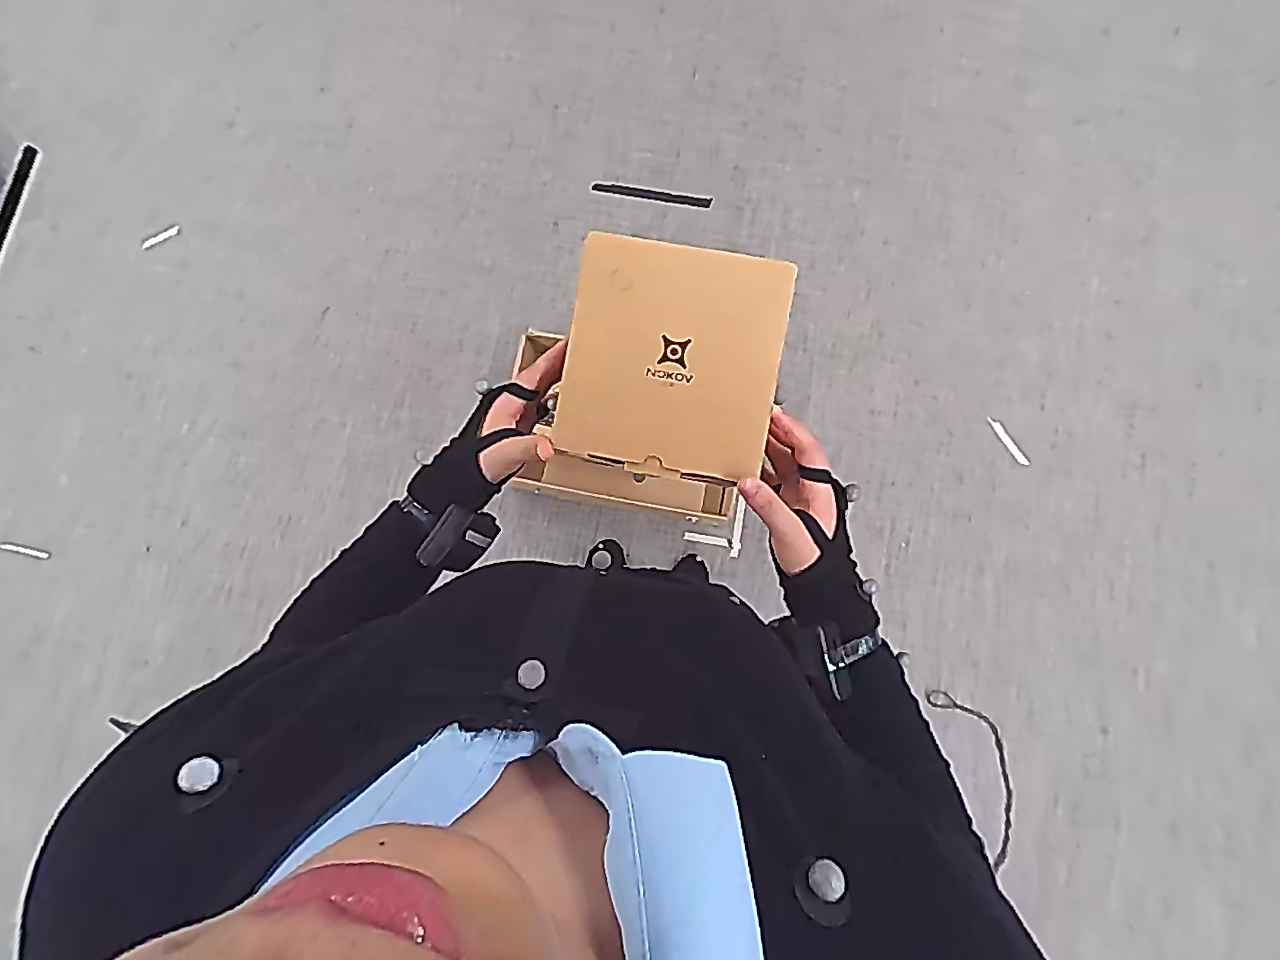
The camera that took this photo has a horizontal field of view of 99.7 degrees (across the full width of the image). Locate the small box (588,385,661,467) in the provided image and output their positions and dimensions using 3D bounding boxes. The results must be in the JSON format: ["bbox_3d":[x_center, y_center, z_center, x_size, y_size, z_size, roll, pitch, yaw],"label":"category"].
[{"bbox_3d":[-0.034,-0.135,1.422,0.168,0.176,0.179,7,84,2],"label":"small box"}]
